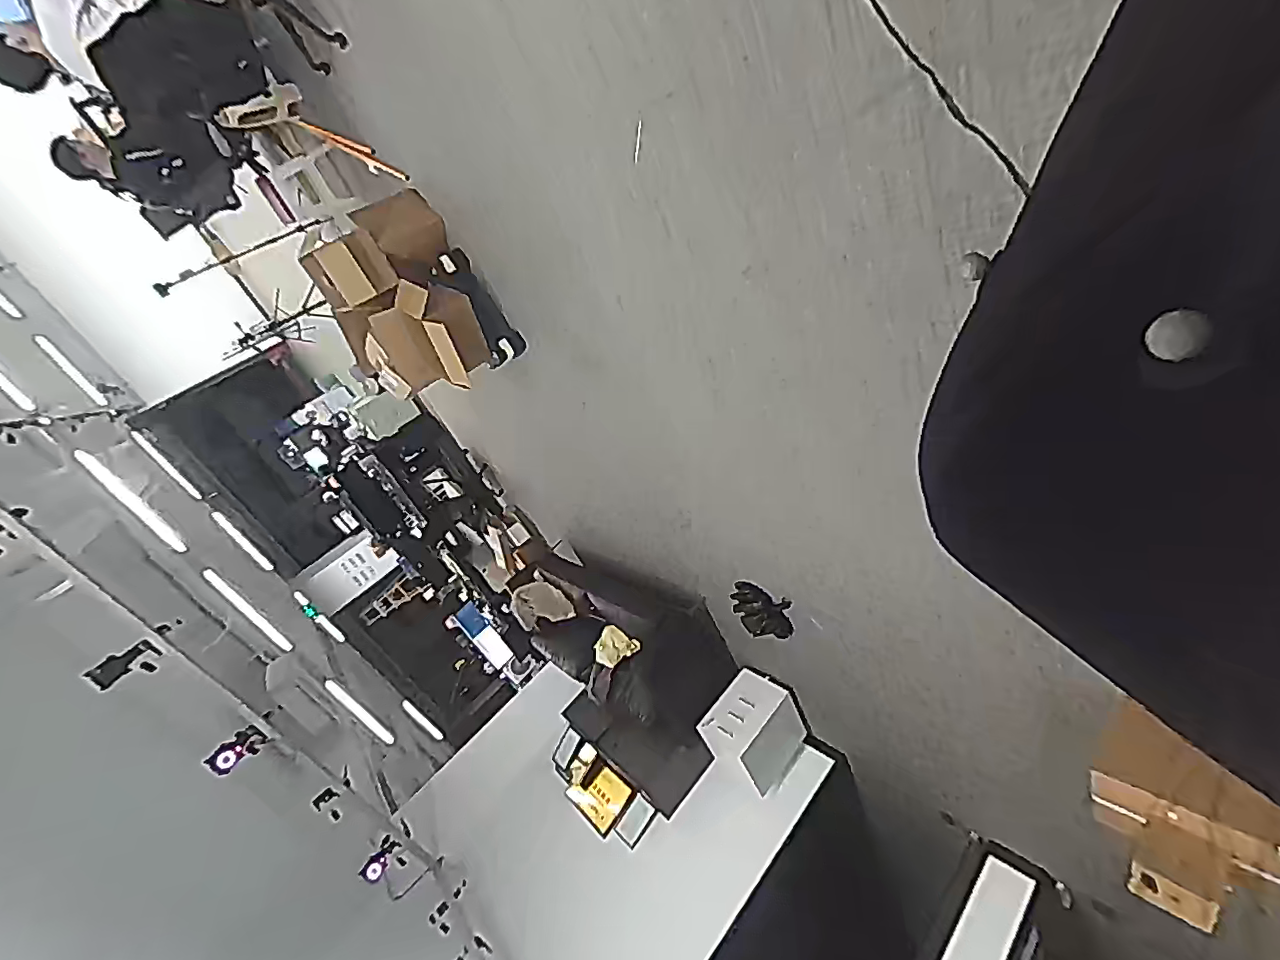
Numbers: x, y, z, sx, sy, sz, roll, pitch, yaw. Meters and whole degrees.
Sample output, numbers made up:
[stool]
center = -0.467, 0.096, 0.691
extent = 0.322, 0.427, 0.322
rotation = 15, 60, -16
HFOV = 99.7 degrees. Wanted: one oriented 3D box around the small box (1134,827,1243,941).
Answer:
[small box]
center = 1.542, 1.123, 1.522
extent = 0.179, 0.176, 0.168
rotation = 18, 137, 48
